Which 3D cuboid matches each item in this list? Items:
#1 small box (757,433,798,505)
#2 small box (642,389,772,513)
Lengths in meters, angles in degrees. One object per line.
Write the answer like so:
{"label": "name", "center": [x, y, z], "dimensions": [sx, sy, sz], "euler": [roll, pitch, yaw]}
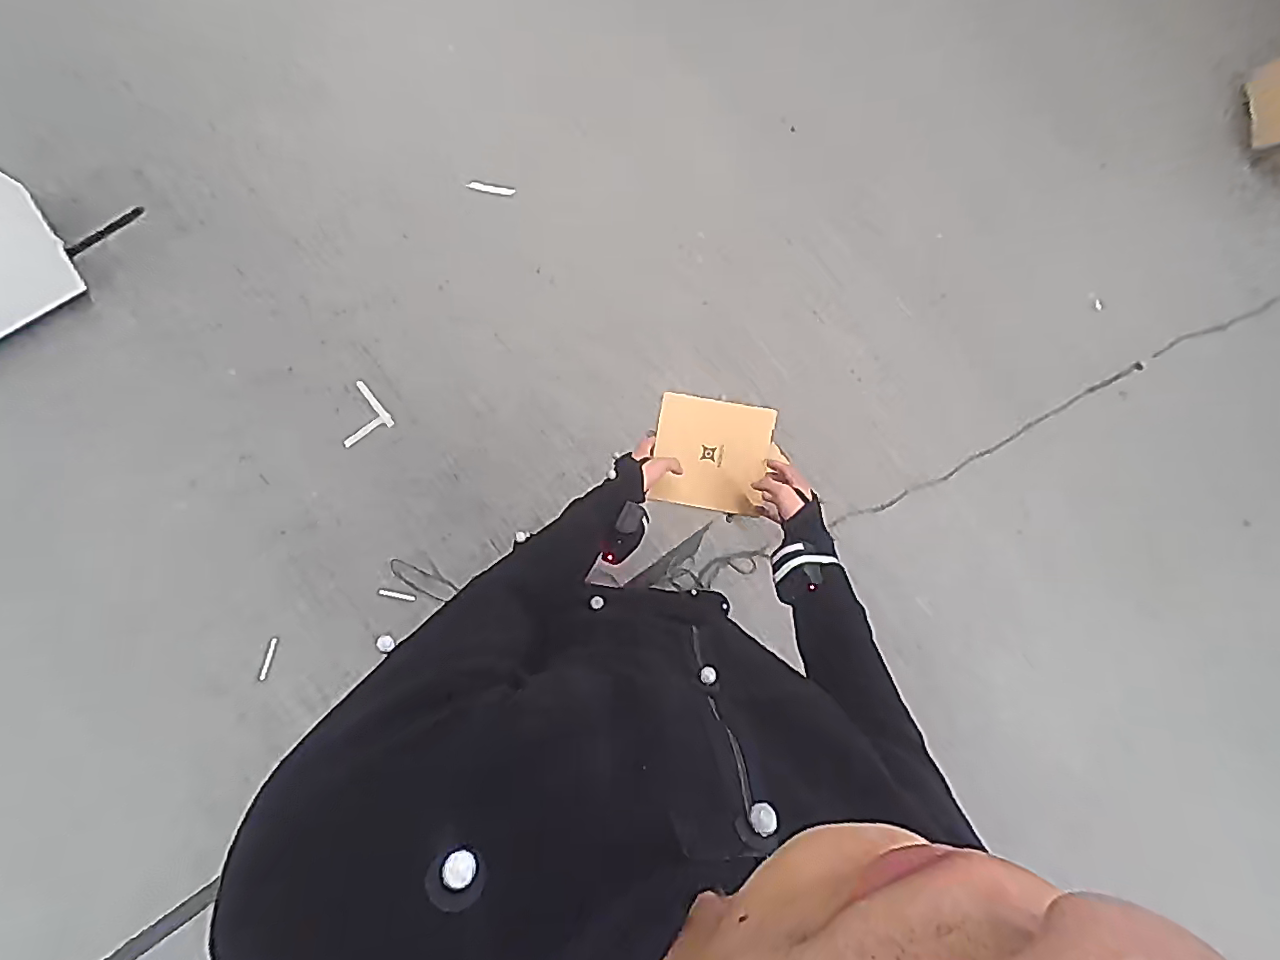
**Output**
{"label": "small box", "center": [0.330, -0.024, 1.605], "dimensions": [0.179, 0.176, 0.168], "euler": [-35, 86, -6]}
{"label": "small box", "center": [0.100, -0.041, 0.887], "dimensions": [0.179, 0.176, 0.168], "euler": [9, 89, -1]}
